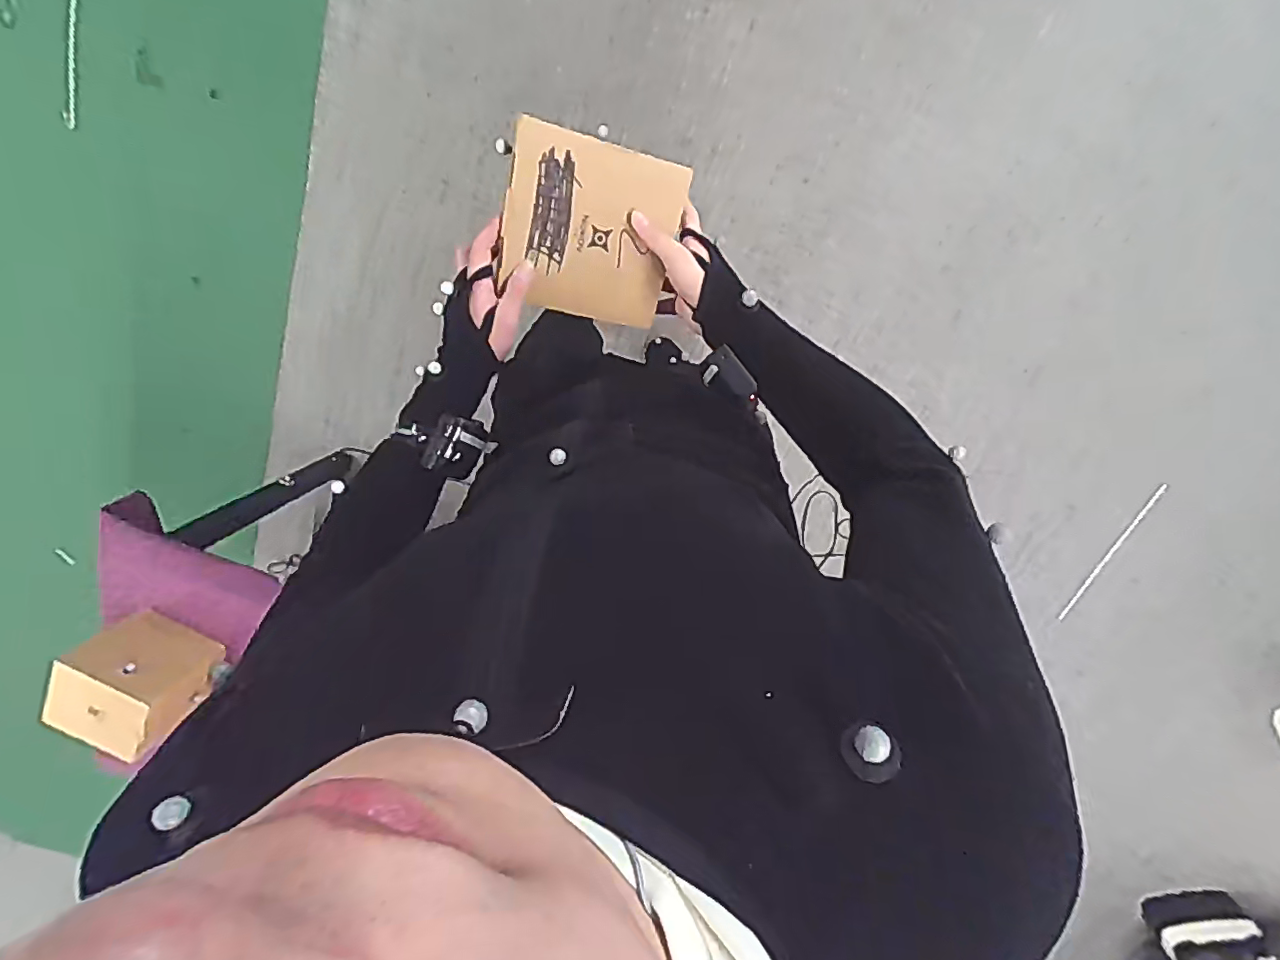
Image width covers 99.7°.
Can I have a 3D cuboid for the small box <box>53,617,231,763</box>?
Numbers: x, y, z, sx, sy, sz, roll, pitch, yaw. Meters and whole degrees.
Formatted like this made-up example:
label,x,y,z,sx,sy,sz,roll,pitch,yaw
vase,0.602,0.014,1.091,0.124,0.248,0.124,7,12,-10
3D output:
label,x,y,z,sx,sy,sz,roll,pitch,yaw
small box,-0.950,0.393,1.043,0.179,0.176,0.168,30,110,-6
